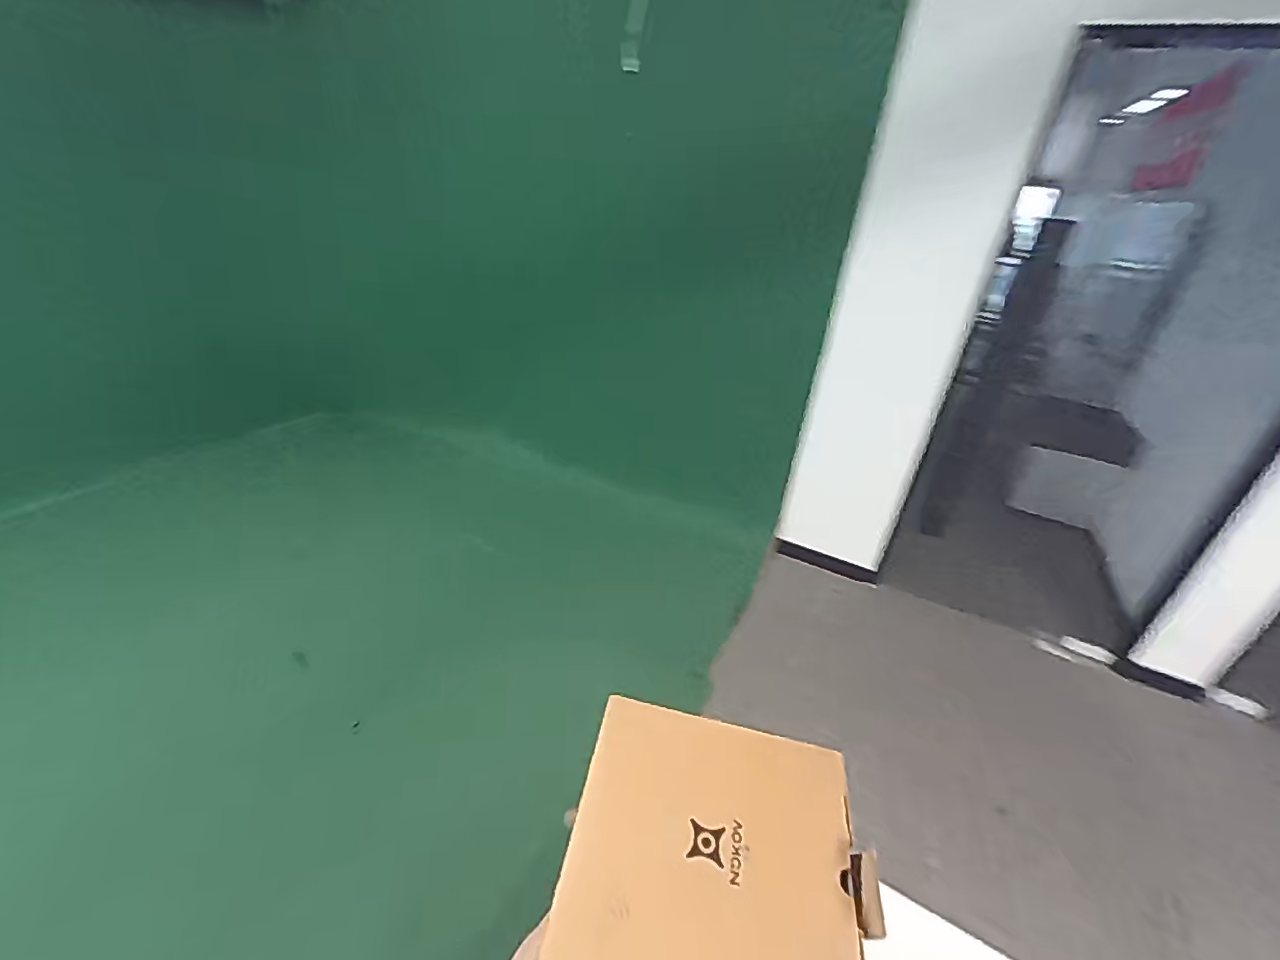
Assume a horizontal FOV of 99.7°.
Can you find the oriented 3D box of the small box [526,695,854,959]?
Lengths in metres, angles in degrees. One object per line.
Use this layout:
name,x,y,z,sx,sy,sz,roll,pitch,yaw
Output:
small box,0.031,0.287,0.380,0.179,0.176,0.168,11,36,4
